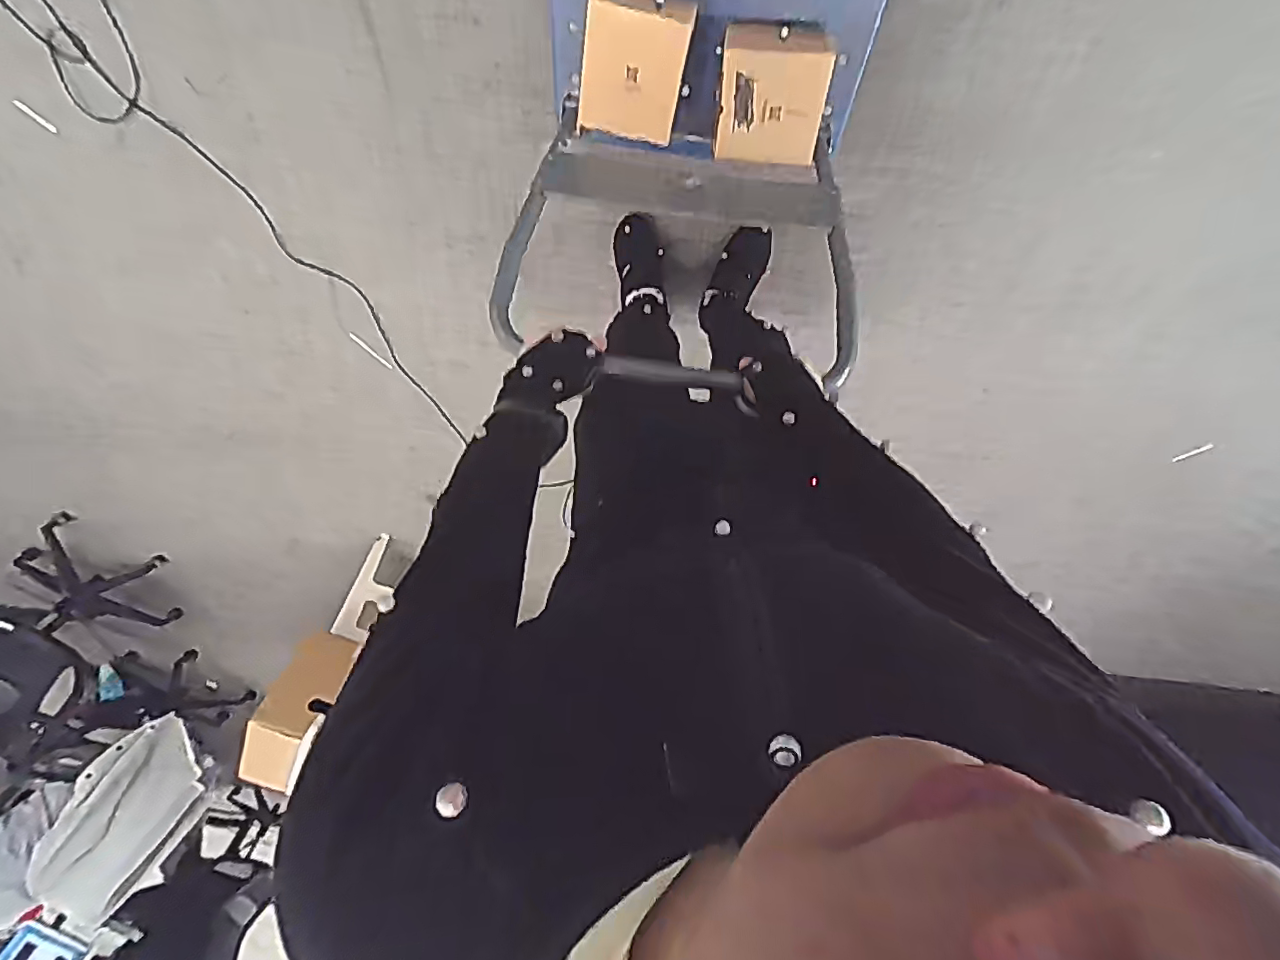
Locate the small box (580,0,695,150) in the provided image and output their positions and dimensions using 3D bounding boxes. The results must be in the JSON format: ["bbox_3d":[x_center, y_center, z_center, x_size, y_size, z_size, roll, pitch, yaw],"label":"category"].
[{"bbox_3d":[-0.003,-0.720,0.944,0.168,0.176,0.179,12,142,-4],"label":"small box"}]
